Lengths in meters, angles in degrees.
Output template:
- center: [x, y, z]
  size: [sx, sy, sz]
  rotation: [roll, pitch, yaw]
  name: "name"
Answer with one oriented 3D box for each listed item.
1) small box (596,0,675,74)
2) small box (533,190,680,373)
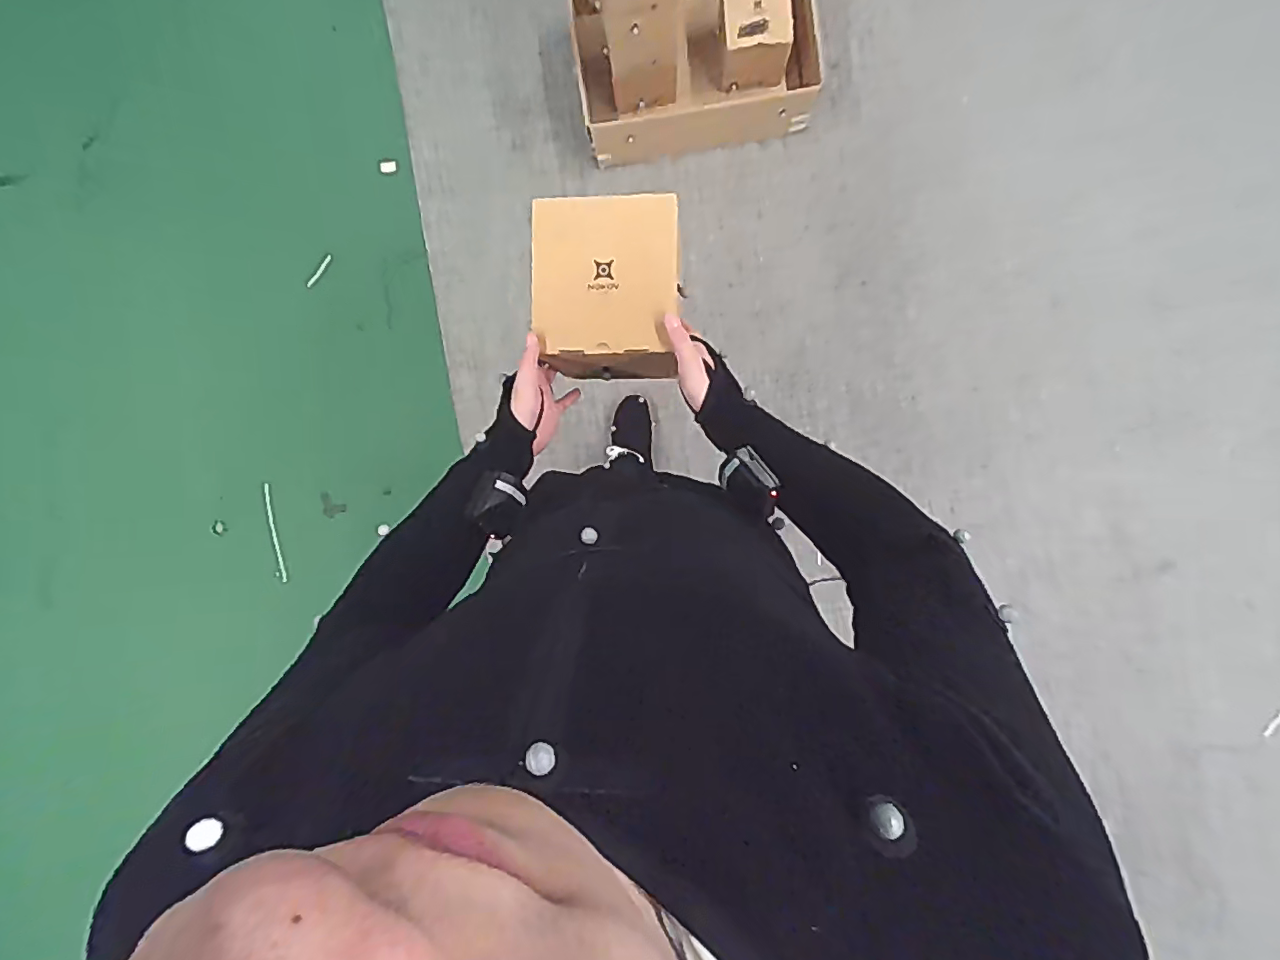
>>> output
- center: [-0.015, -1.104, 1.258]
  size: [0.168, 0.176, 0.179]
  rotation: [-11, 93, 4]
  name: "small box"
- center: [-0.034, -0.236, 0.682]
  size: [0.168, 0.176, 0.179]
  rotation: [0, 93, 4]
  name: "small box"
